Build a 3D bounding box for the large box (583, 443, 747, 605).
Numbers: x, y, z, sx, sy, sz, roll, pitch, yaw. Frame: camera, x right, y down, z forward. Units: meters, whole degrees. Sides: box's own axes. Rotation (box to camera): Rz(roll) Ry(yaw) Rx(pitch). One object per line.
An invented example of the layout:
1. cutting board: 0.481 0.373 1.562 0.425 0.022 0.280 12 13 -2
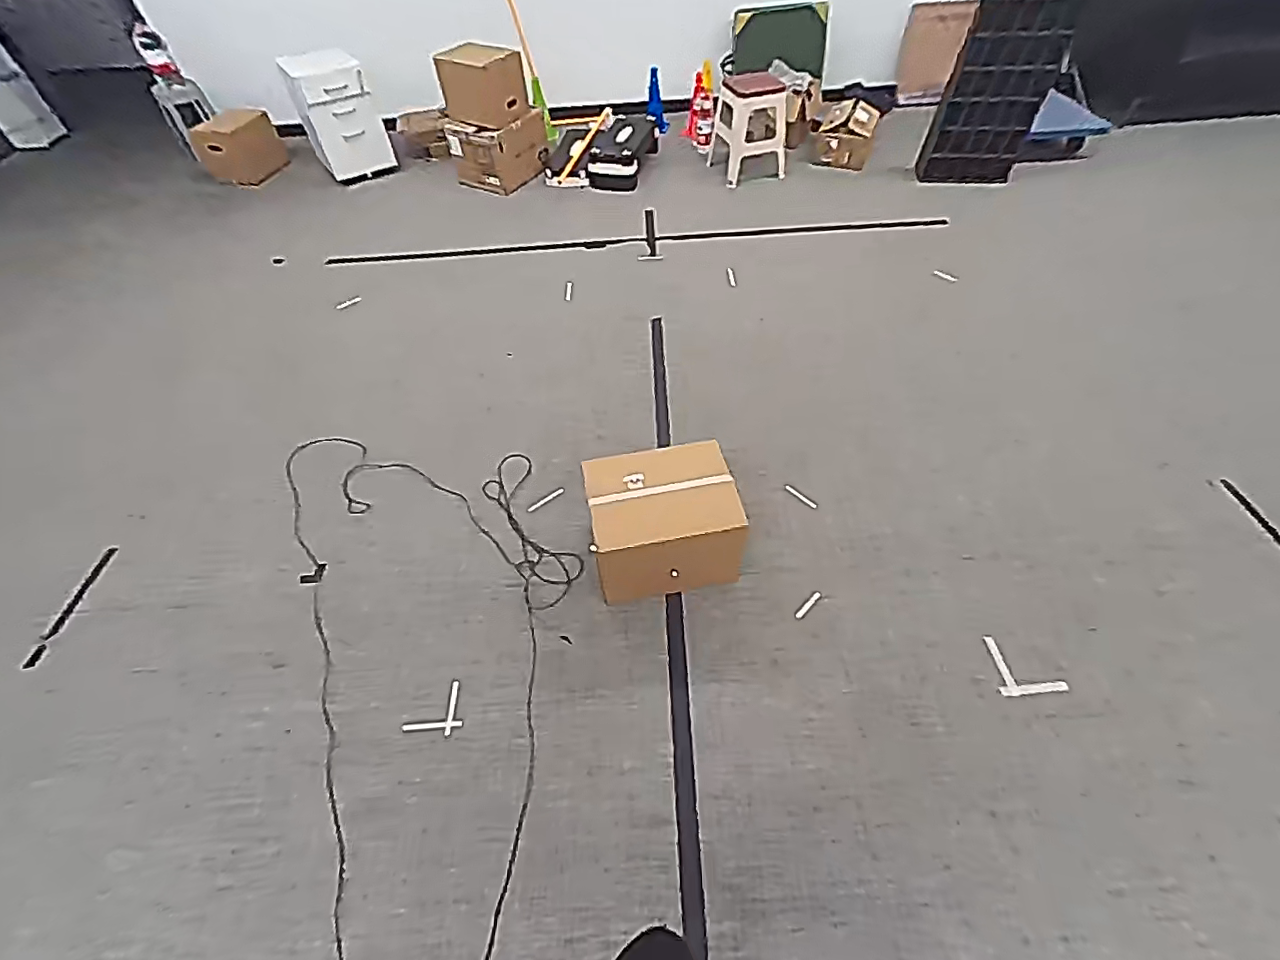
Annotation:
1. large box: 0.066 0.134 1.600 0.408 0.320 0.320 -11 51 -4
